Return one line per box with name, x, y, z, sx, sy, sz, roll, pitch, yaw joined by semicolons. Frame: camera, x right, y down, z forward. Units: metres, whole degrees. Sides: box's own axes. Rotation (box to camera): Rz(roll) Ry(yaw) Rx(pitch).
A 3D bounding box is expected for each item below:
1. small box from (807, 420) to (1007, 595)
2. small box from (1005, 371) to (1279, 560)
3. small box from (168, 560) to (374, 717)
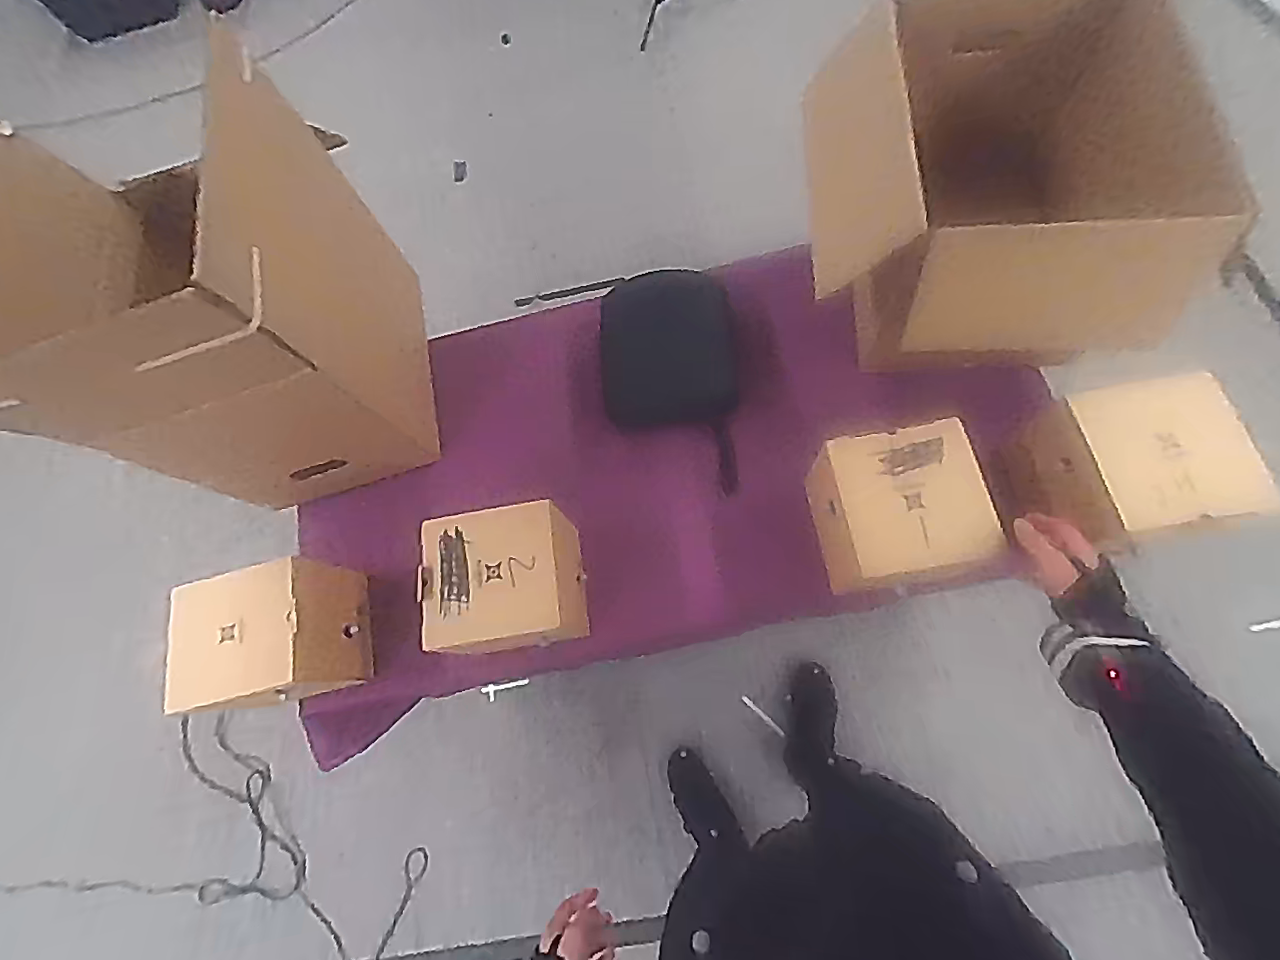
small box;0.330;0.045;0.711;0.168;0.176;0.179;-10;71;5
small box;0.608;-0.010;0.686;0.168;0.176;0.179;-10;70;6
small box;-0.513;0.229;0.773;0.179;0.176;0.168;-16;70;1
